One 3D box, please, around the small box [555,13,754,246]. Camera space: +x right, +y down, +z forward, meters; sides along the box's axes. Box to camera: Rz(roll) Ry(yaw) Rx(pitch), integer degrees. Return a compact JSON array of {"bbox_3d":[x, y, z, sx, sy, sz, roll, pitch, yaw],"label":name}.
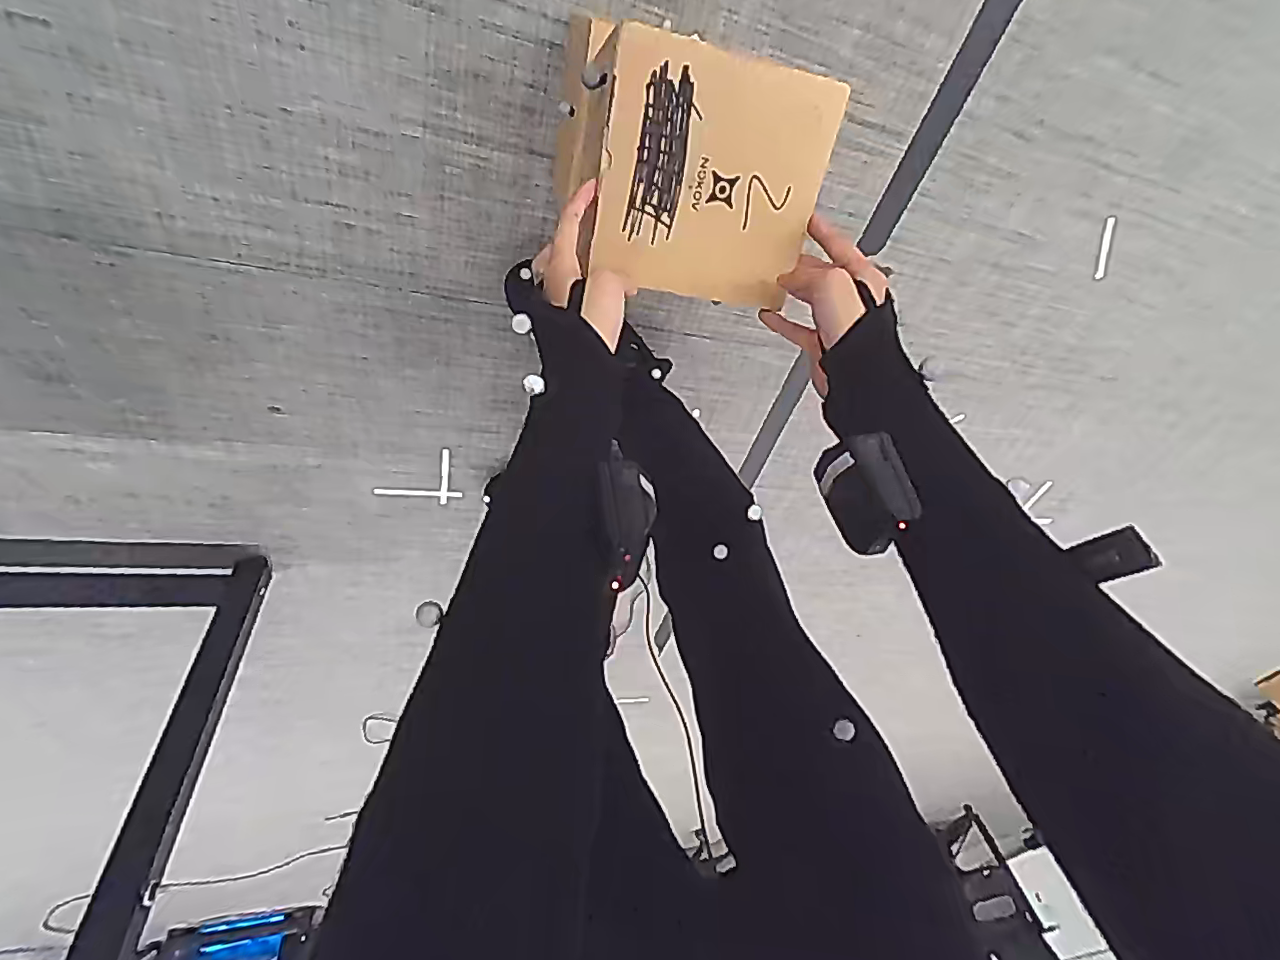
[{"bbox_3d":[-0.001,-0.392,0.607,0.168,0.176,0.179,3,132,-17],"label":"small box"}]
